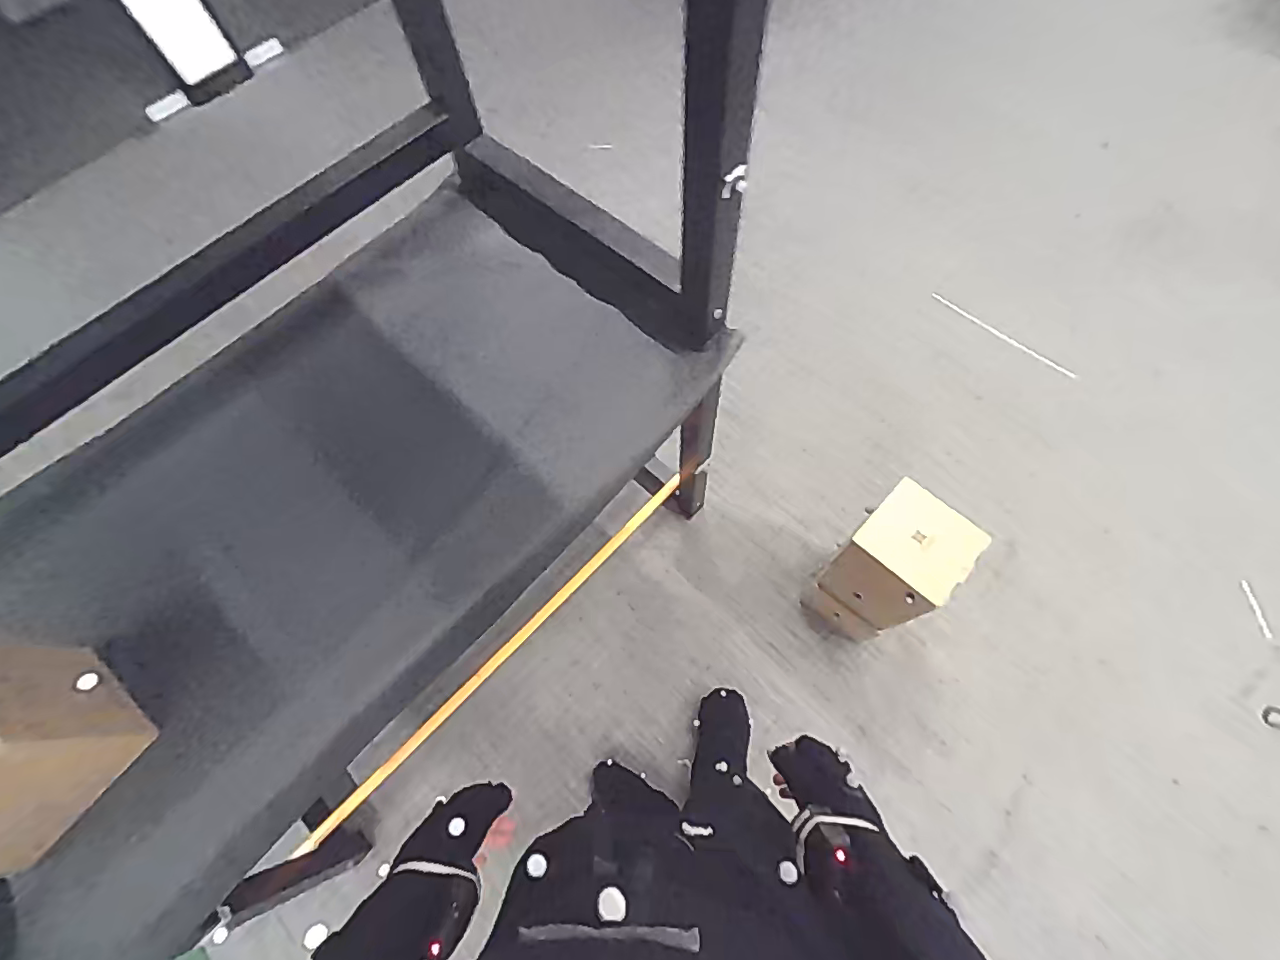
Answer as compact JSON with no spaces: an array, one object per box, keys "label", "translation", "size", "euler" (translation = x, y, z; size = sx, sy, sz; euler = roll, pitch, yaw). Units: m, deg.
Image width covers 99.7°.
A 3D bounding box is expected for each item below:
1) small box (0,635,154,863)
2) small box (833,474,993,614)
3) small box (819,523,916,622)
[{"label":"small box","translation":[-0.693,0.288,0.573],"size":[0.168,0.176,0.179],"euler":[35,74,16]},{"label":"small box","translation":[0.485,0.125,0.993],"size":[0.179,0.176,0.168],"euler":[41,77,18]},{"label":"small box","translation":[0.511,0.182,1.144],"size":[0.179,0.176,0.168],"euler":[38,75,18]}]
